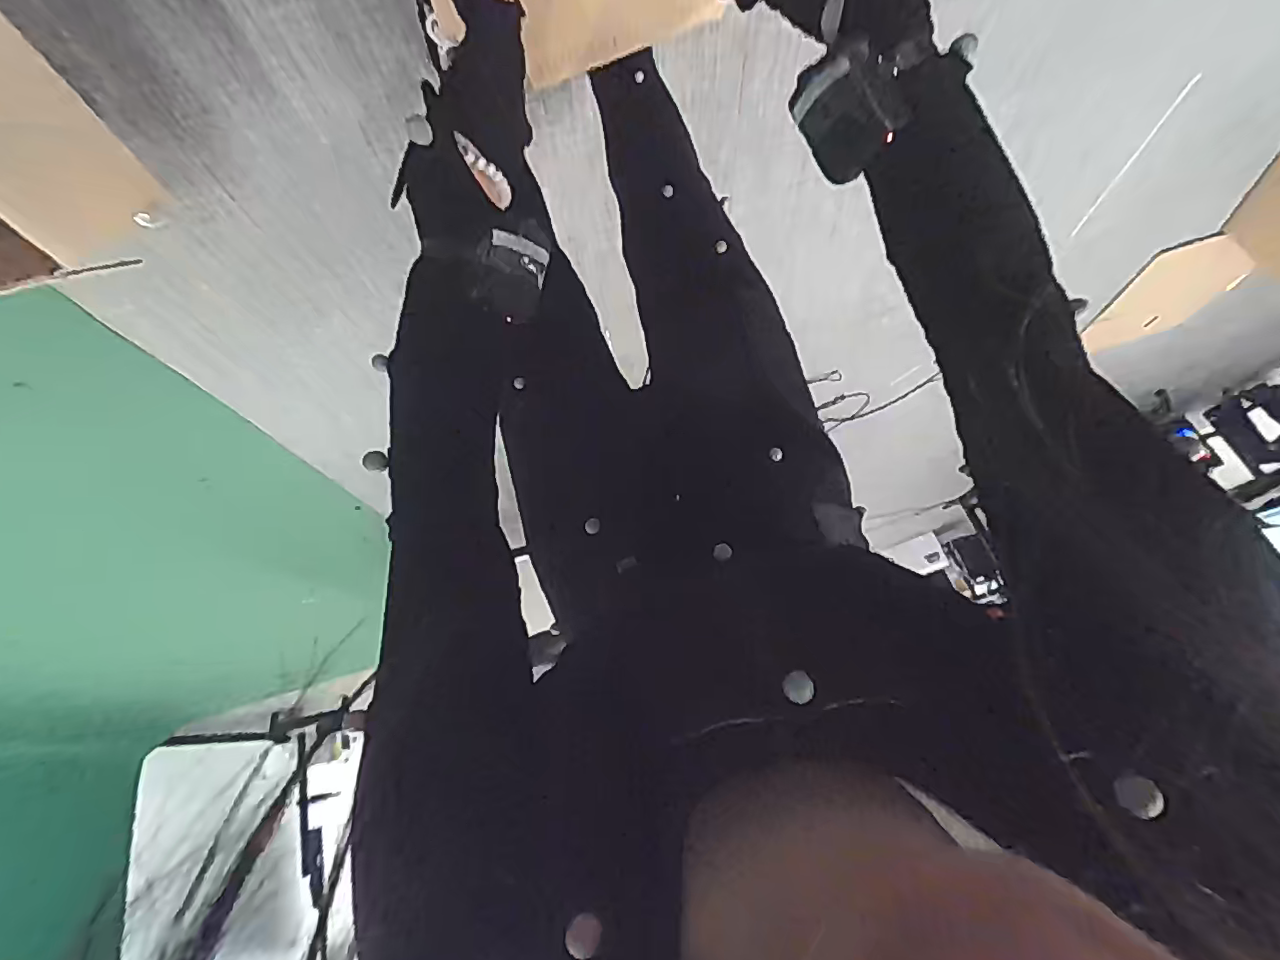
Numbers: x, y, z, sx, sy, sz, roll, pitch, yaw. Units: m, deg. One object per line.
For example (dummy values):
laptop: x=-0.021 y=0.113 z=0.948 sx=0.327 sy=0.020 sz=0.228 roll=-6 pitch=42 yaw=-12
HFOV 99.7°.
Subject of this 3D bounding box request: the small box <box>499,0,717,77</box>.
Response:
small box: x=-0.037 y=-0.425 z=0.369 sx=0.179 sy=0.168 sz=0.176 roll=-18 pitch=-170 yaw=4
